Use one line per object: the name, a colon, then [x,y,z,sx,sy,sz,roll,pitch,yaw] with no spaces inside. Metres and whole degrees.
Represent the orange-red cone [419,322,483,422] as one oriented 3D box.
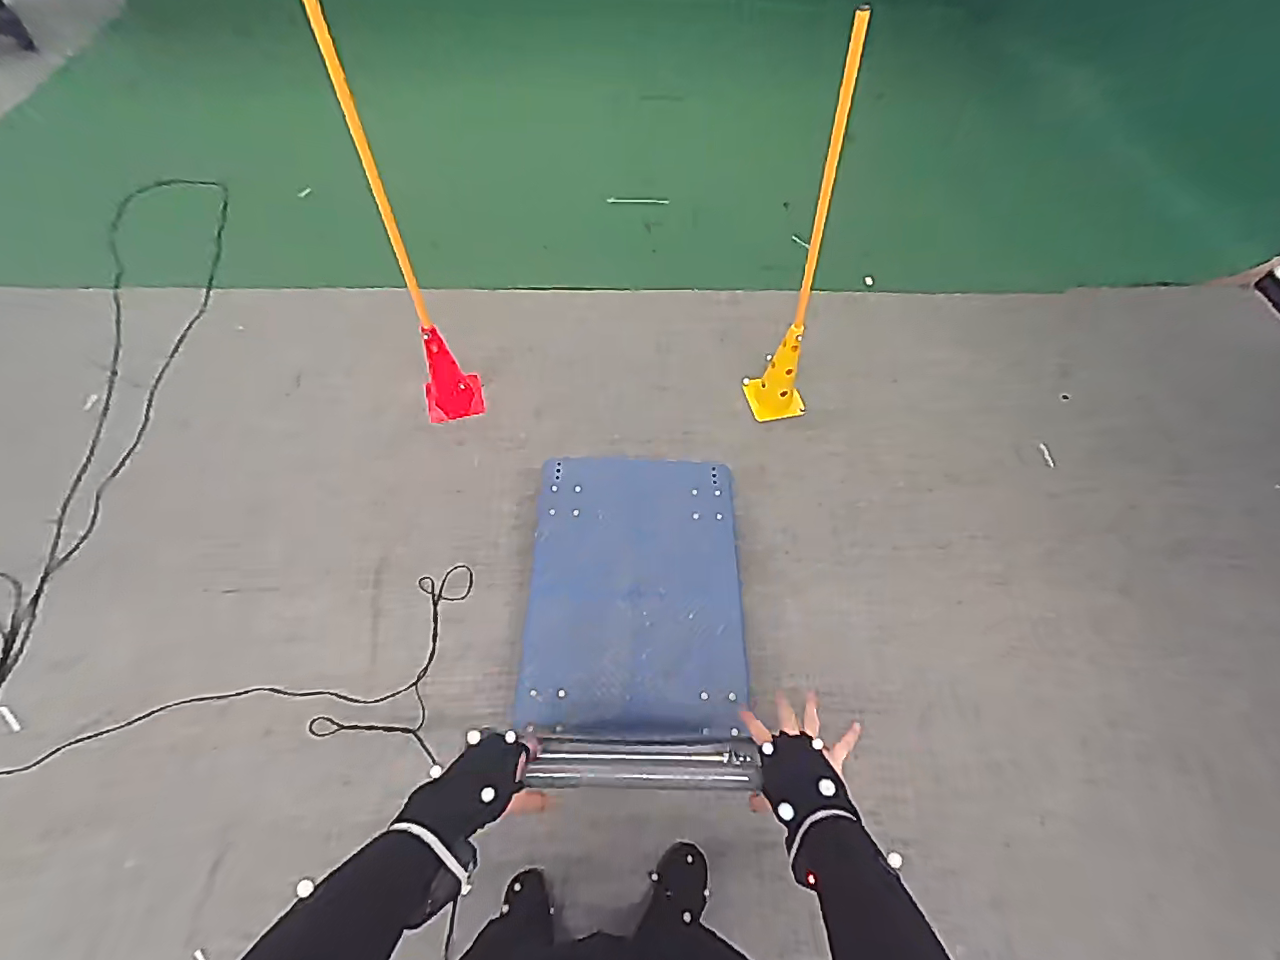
orange-red cone: [-0.680,-0.390,1.838,0.199,0.360,0.198,-14,60,-9]
